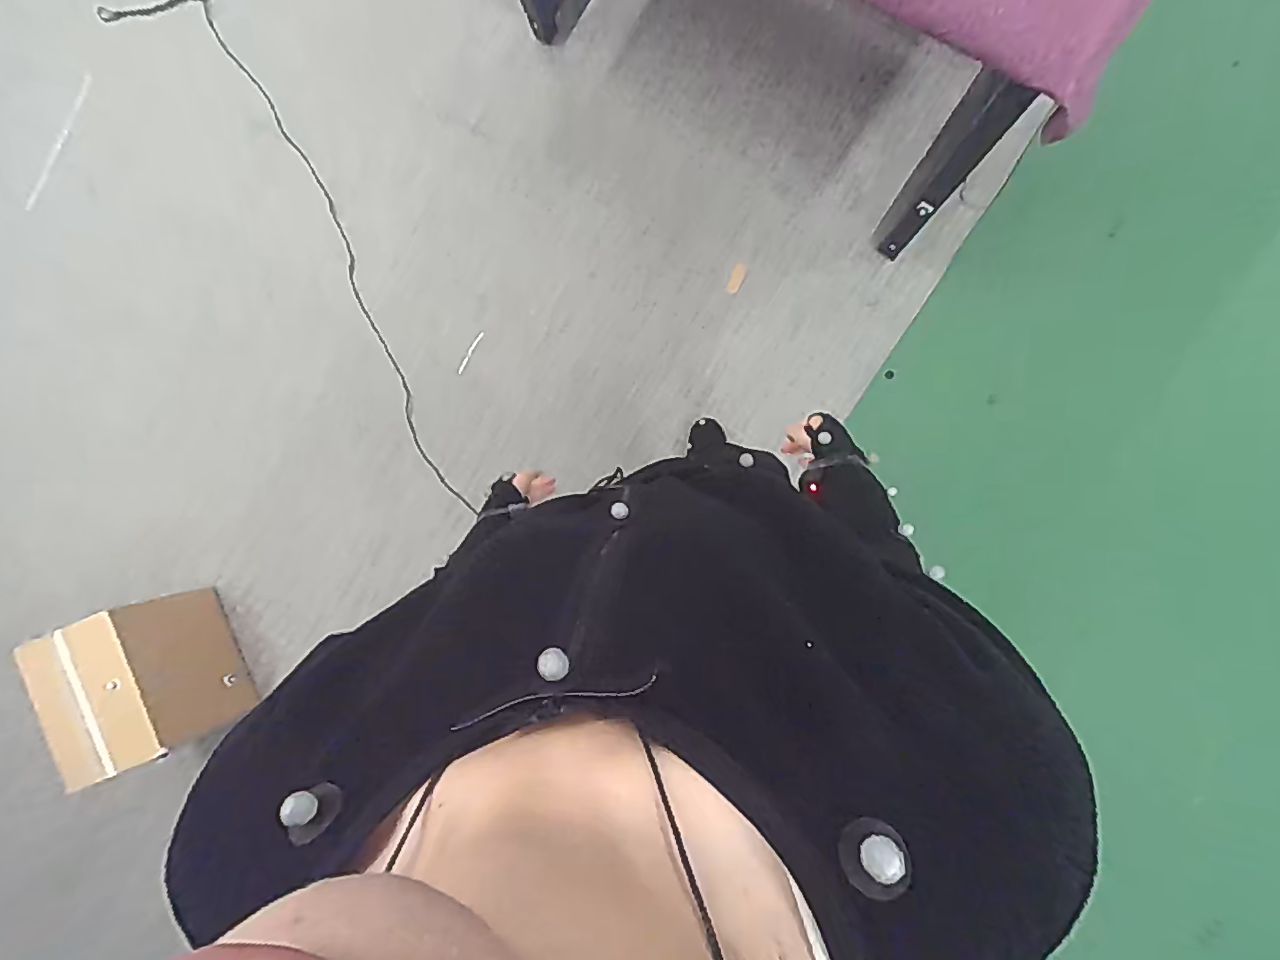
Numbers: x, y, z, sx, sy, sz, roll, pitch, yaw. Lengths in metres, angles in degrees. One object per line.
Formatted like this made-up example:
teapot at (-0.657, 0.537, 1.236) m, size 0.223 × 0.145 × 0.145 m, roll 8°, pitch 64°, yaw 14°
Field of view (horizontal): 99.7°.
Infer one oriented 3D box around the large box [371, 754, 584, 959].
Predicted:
large box at (-0.402, 0.996, 1.419) m, size 0.408 × 0.320 × 0.320 m, roll 19°, pitch 94°, yaw 4°
